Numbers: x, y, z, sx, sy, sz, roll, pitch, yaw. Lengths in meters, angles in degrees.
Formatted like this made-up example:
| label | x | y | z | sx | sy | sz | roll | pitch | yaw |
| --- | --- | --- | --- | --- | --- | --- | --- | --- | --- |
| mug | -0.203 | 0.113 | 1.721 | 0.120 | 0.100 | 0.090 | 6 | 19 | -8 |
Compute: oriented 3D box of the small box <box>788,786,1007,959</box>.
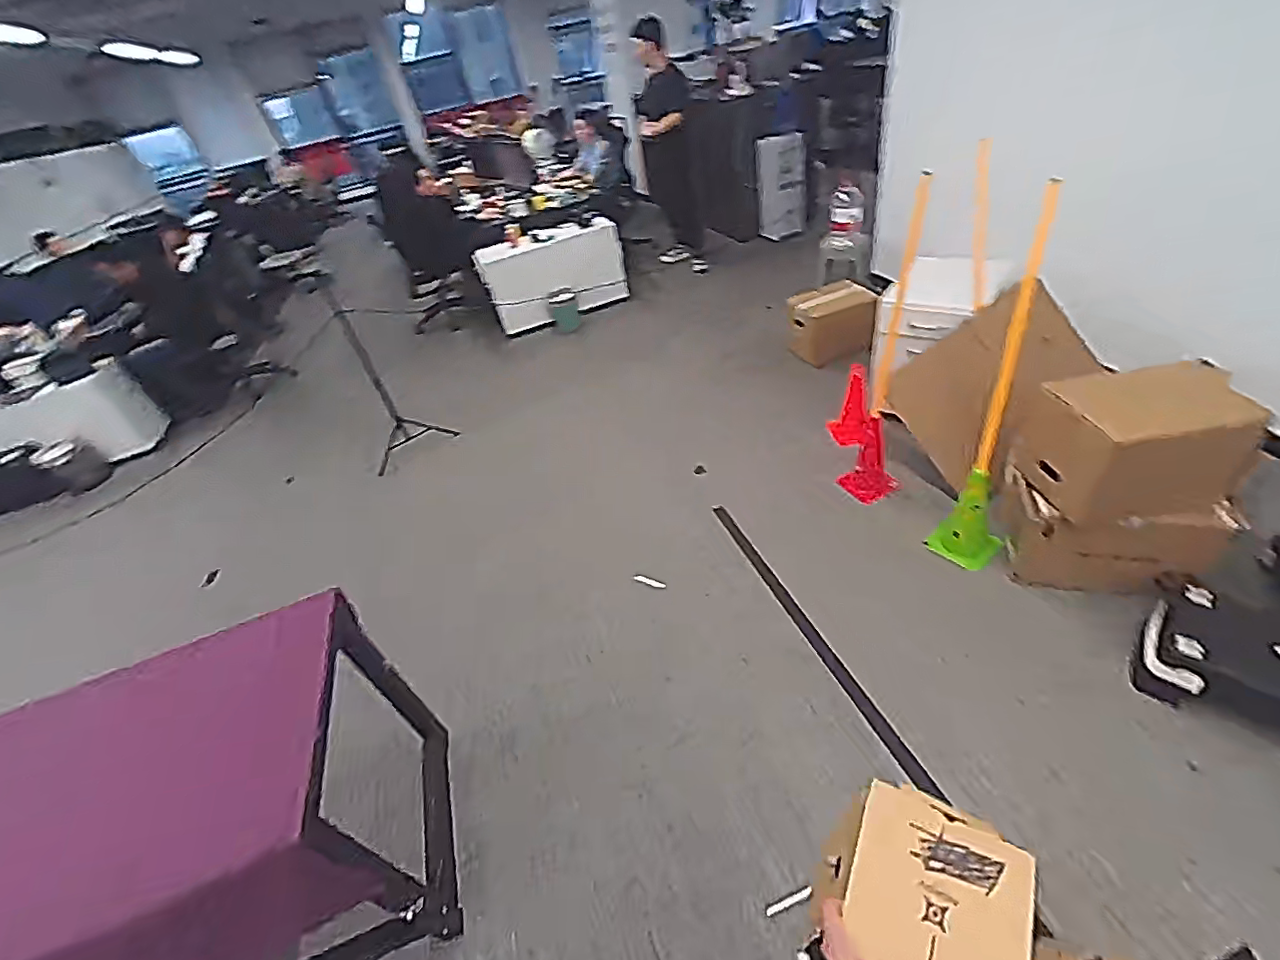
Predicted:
| label | x | y | z | sx | sy | sz | roll | pitch | yaw |
| --- | --- | --- | --- | --- | --- | --- | --- | --- | --- |
| small box | 0.276 | 0.494 | 0.598 | 0.168 | 0.176 | 0.179 | 20 | 40 | 18 |
